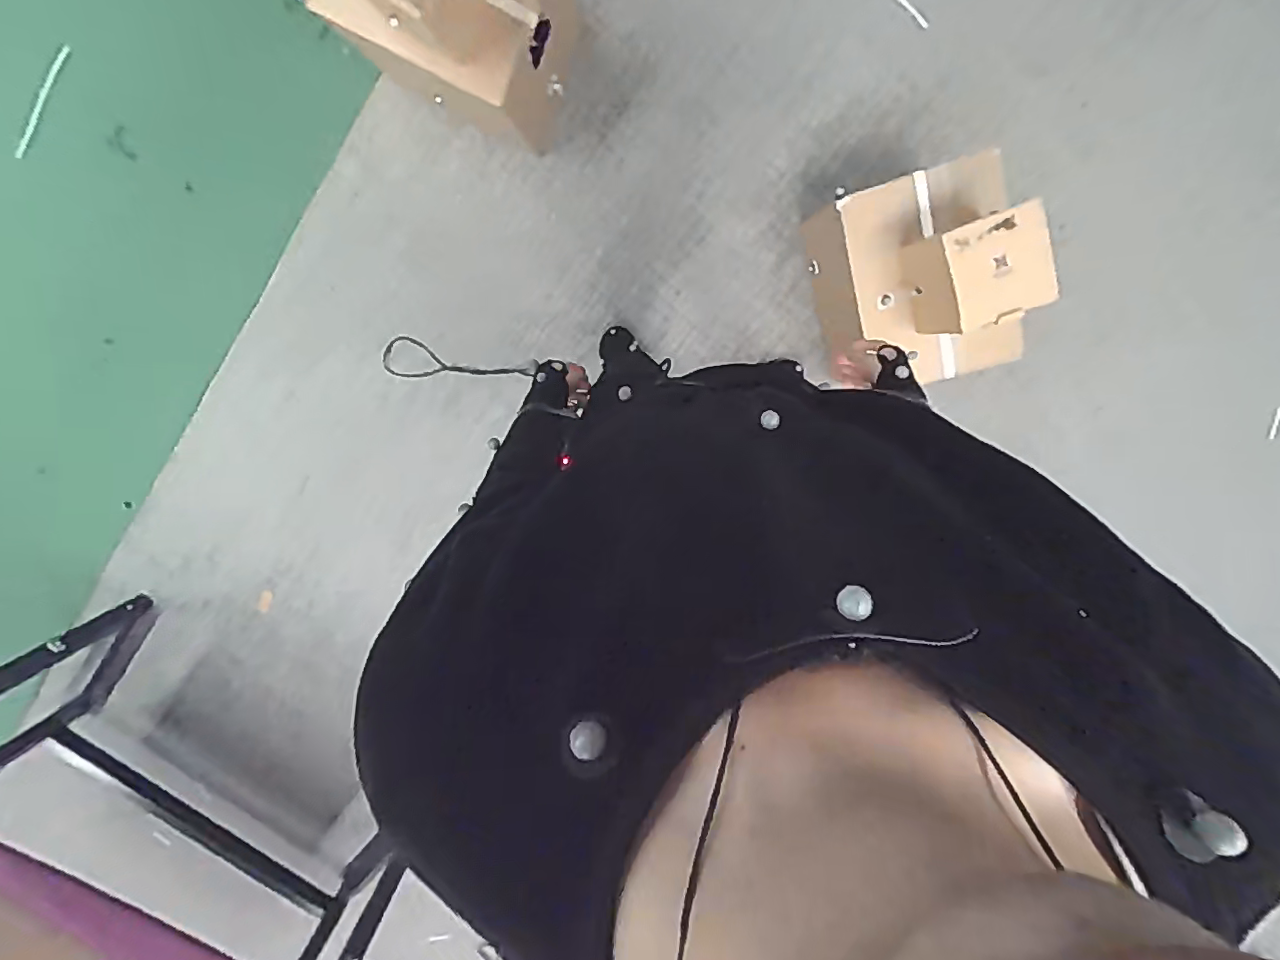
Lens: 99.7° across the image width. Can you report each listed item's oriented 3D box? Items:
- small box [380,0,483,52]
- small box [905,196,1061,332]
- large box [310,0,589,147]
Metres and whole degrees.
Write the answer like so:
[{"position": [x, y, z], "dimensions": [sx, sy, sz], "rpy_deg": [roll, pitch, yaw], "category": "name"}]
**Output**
[{"position": [-0.363, -0.868, 0.892], "dimensions": [0.168, 0.176, 0.179], "rpy_deg": [31, 105, -7], "category": "small box"}, {"position": [0.614, -0.383, 0.985], "dimensions": [0.168, 0.176, 0.179], "rpy_deg": [-19, 105, 6], "category": "small box"}, {"position": [-0.362, -0.973, 1.118], "dimensions": [0.408, 0.320, 0.320], "rpy_deg": [26, 104, -3], "category": "large box"}]
